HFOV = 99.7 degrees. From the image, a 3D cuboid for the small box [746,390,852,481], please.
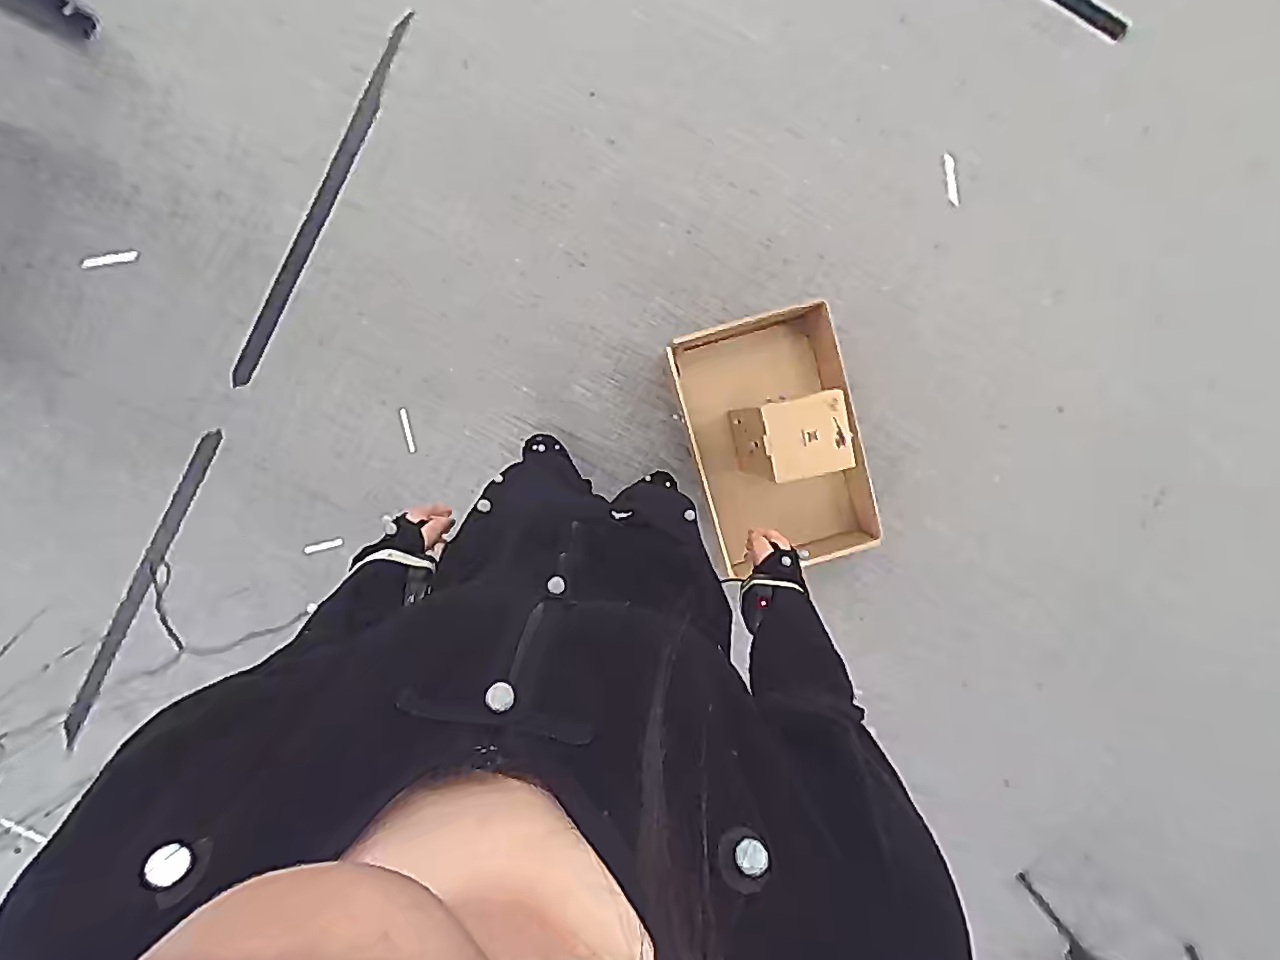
[{"bbox_3d":[0.340,-0.099,1.195,0.179,0.176,0.168,-12,97,-1],"label":"small box"}]
